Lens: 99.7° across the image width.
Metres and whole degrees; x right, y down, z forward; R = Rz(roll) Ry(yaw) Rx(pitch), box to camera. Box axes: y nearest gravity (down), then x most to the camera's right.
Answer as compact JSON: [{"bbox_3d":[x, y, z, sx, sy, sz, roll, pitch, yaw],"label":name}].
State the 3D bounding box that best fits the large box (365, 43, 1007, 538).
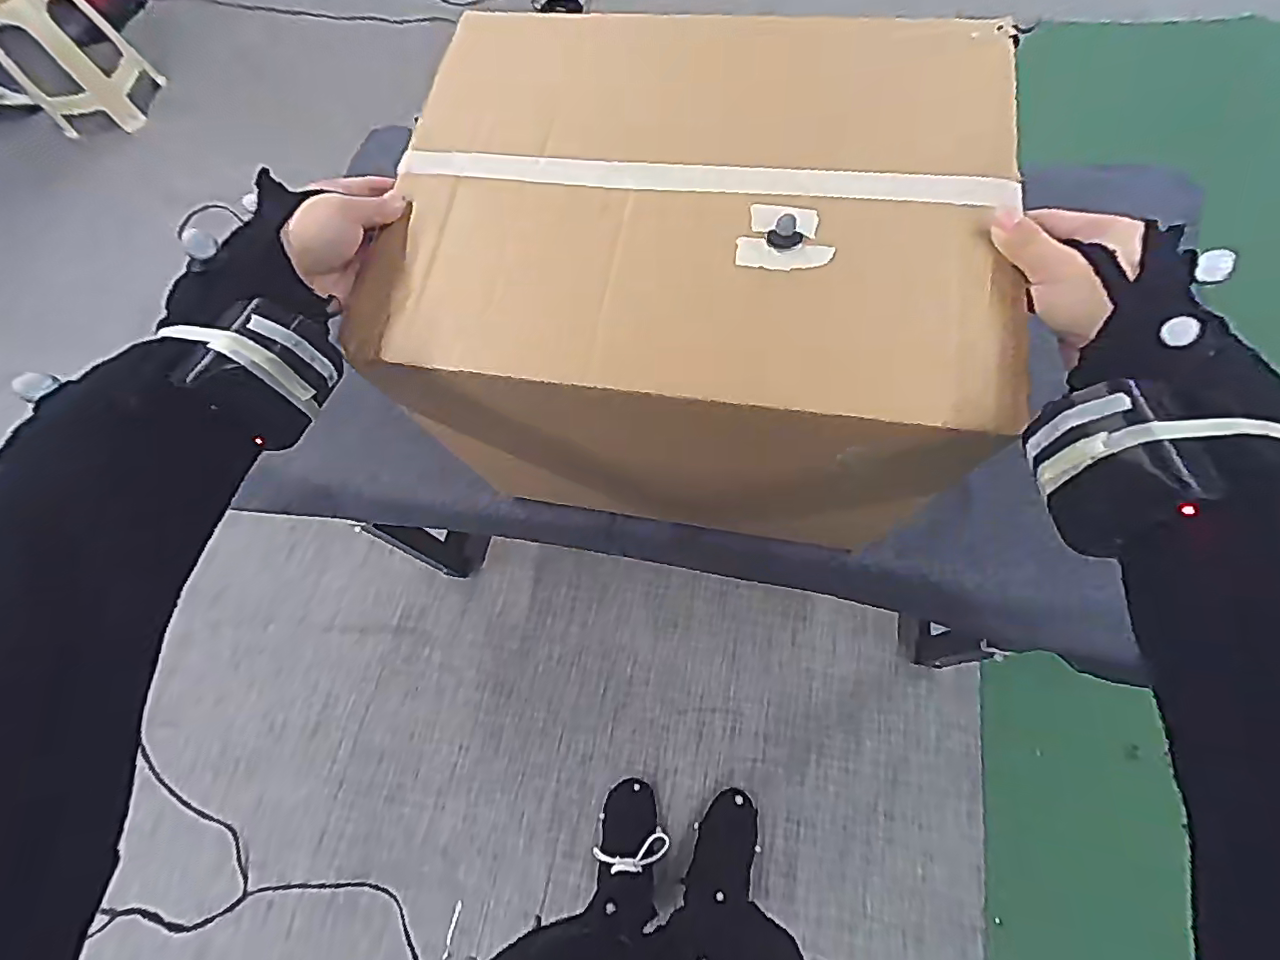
[{"bbox_3d":[0.046,-0.148,0.515,0.408,0.320,0.320,8,73,8],"label":"large box"}]
